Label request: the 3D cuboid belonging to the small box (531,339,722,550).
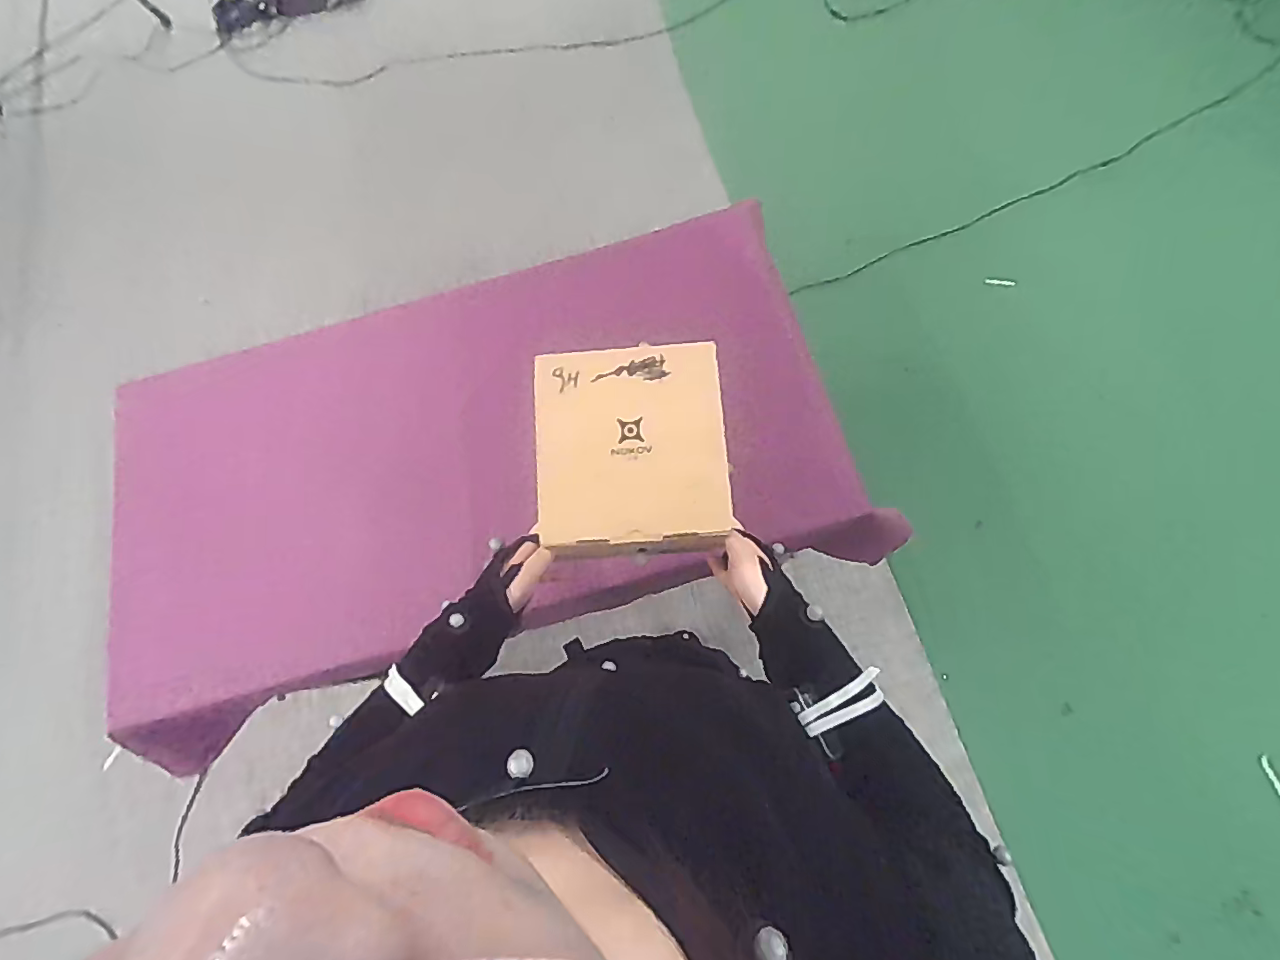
[{"bbox_3d":[-0.009,-0.021,0.549,0.168,0.176,0.179,-4,78,2],"label":"small box"}]
